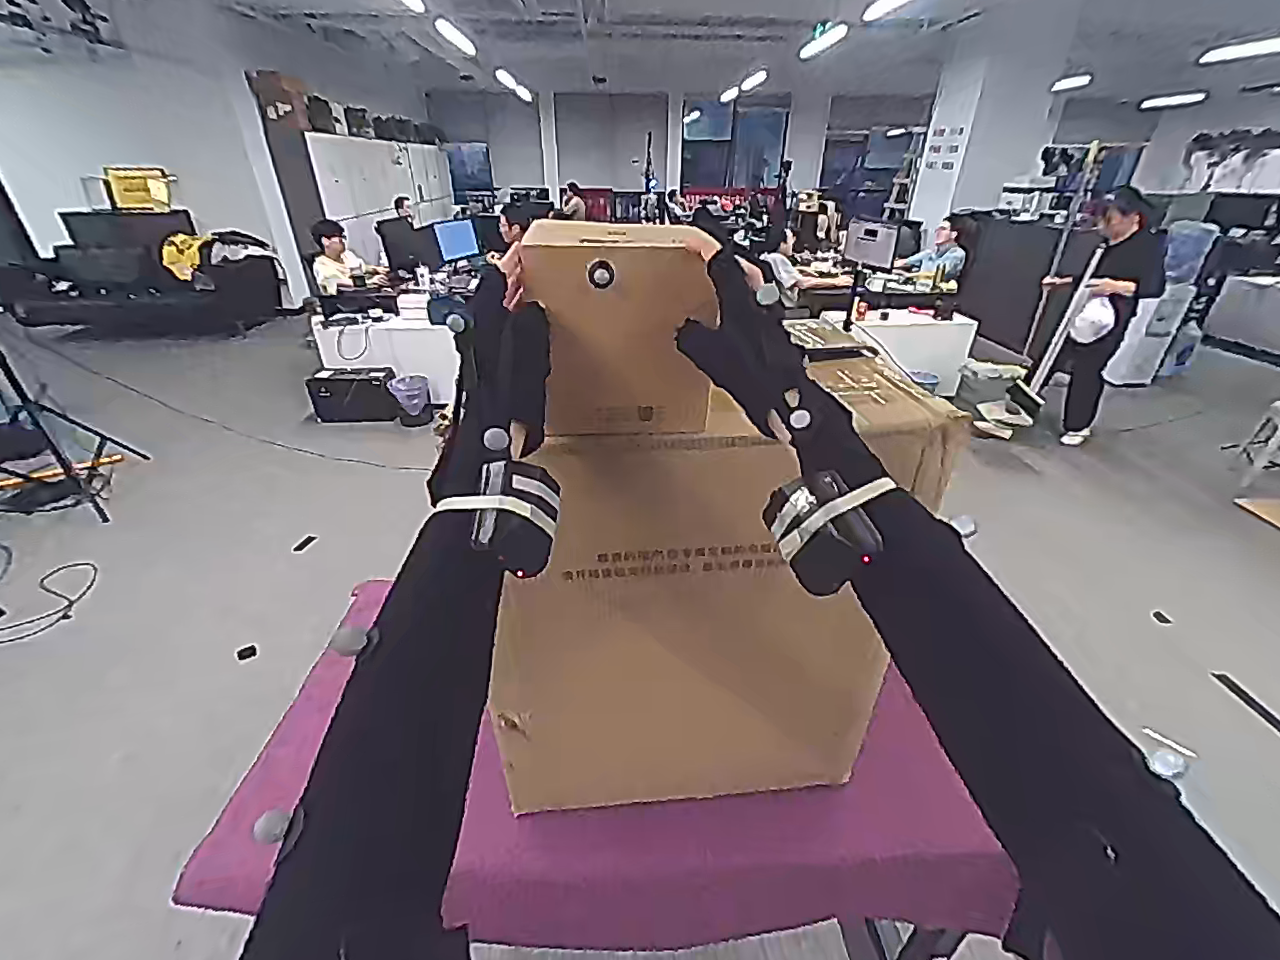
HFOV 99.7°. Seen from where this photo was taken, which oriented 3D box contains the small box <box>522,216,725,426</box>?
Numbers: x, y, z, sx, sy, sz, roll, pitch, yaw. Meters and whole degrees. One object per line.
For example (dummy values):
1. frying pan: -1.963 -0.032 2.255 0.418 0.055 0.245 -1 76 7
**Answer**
1. small box: -0.021 -0.163 0.539 0.168 0.176 0.179 -2 30 -5
